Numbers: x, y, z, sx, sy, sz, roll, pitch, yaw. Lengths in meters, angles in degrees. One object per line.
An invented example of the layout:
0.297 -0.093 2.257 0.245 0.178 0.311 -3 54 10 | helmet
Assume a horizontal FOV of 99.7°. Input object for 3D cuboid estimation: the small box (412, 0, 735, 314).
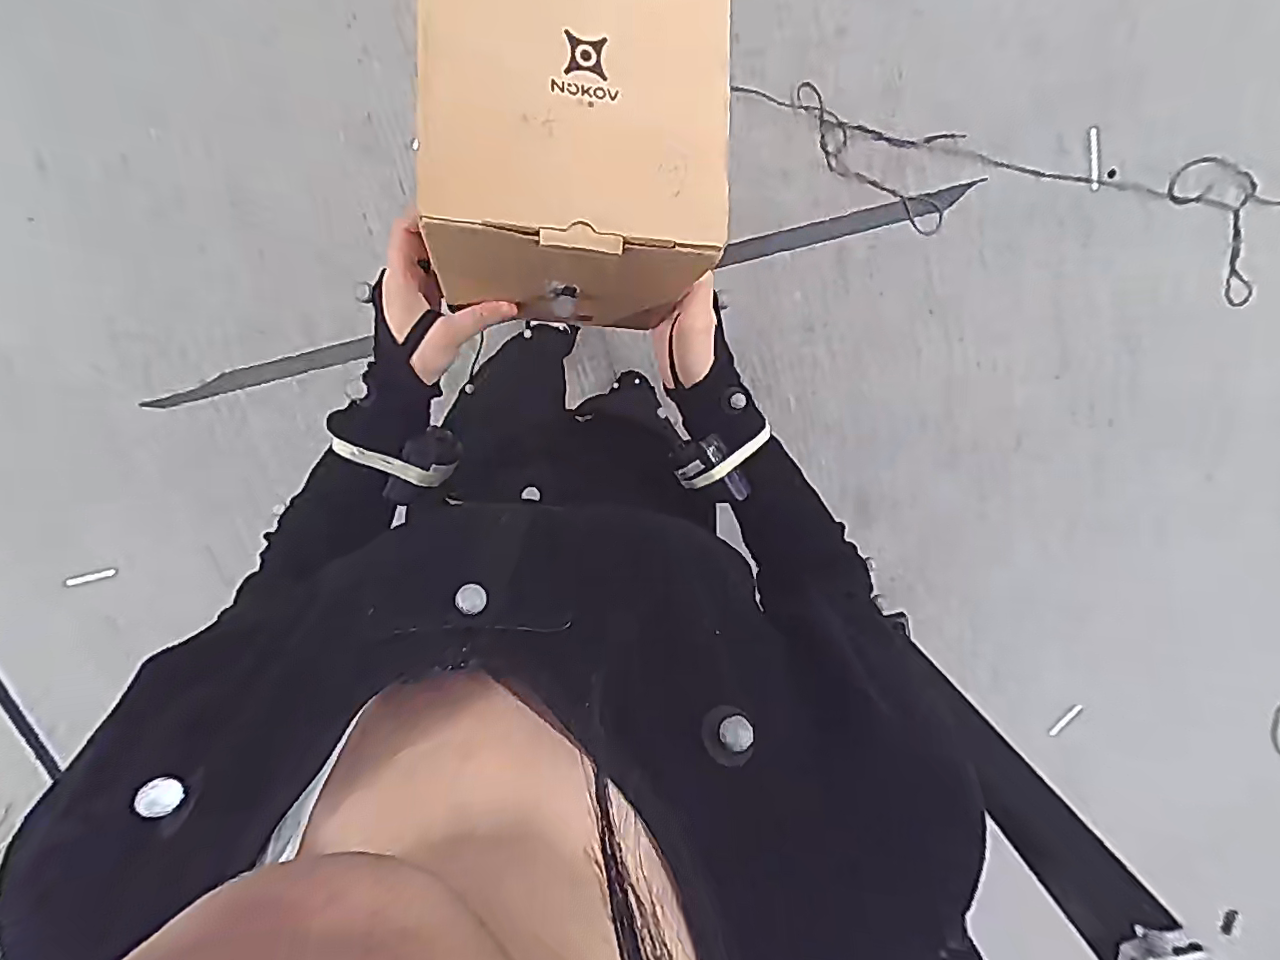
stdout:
-0.049 -0.218 0.354 0.168 0.176 0.179 0 91 -16 | small box
